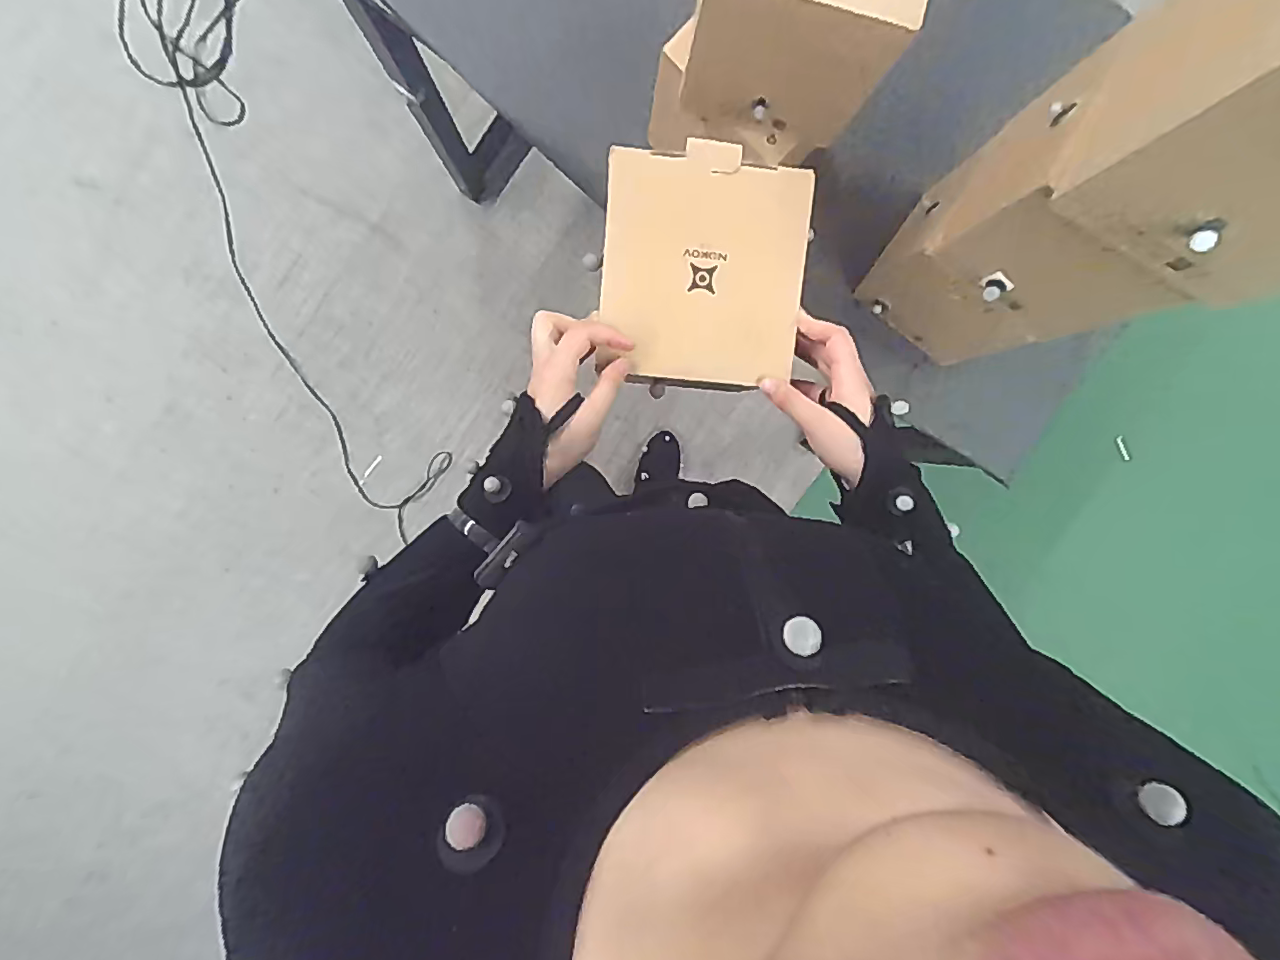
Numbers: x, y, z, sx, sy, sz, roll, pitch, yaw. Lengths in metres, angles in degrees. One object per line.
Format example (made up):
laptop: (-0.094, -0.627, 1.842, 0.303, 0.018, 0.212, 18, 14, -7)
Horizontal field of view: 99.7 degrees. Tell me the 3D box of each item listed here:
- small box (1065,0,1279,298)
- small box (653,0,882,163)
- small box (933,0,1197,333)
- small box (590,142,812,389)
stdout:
small box: (0.427, -0.248, 0.337, 0.168, 0.176, 0.179, 29, 90, -3)
small box: (0.132, -0.448, 0.636, 0.168, 0.176, 0.179, 44, 89, -5)
small box: (0.418, -0.265, 0.502, 0.168, 0.176, 0.179, 32, 91, -4)
small box: (0.045, -0.181, 0.512, 0.168, 0.176, 0.179, 4, 97, -4)
